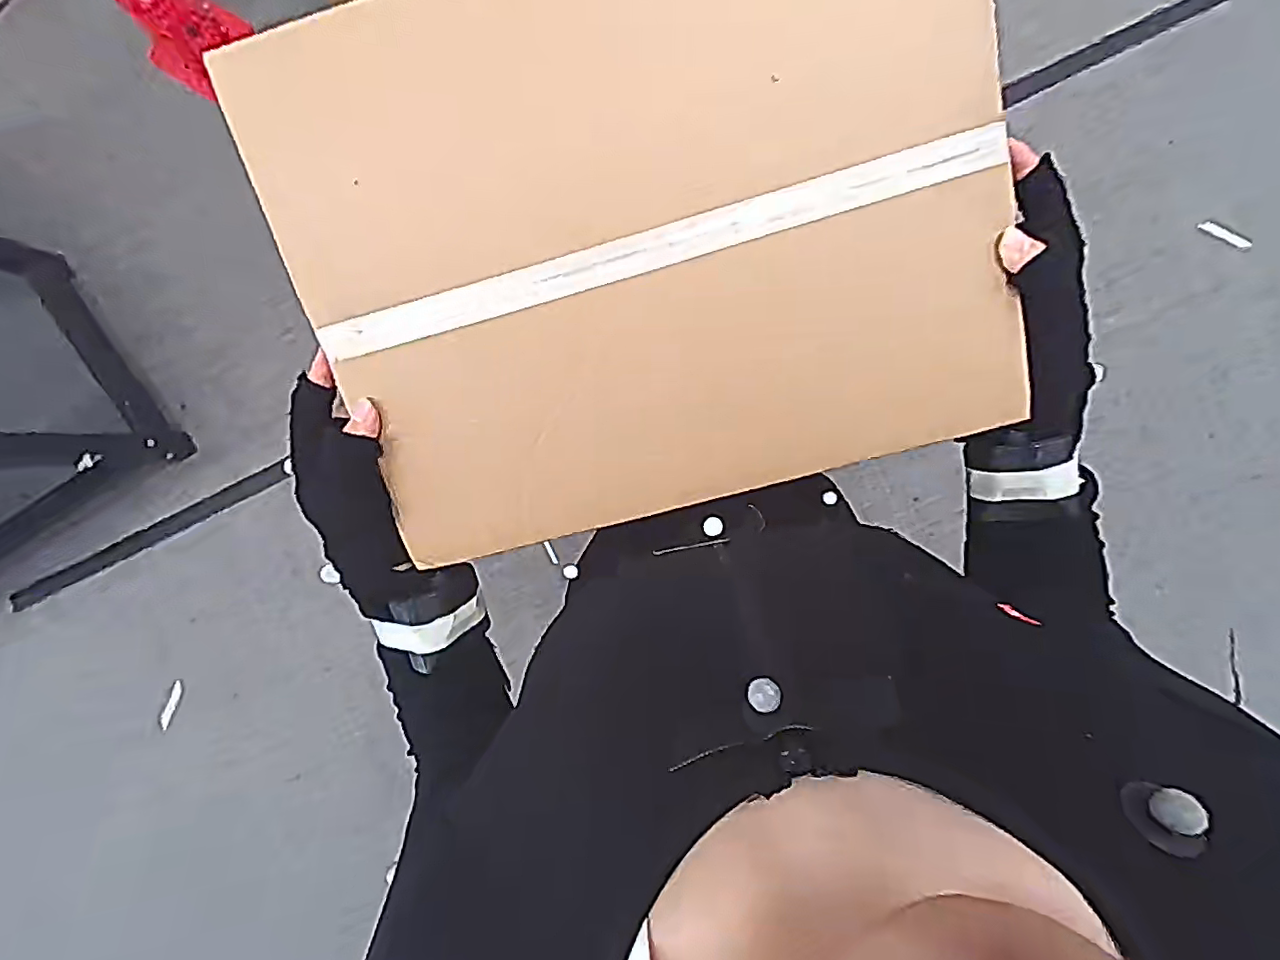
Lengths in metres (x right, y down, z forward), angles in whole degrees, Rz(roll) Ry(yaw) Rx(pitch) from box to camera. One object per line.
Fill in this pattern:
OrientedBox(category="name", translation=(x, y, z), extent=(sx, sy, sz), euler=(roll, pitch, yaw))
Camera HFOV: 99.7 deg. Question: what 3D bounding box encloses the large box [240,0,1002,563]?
OrientedBox(category="large box", translation=(0.007, -0.173, 0.467), extent=(0.408, 0.320, 0.320), euler=(-14, 104, 5))
